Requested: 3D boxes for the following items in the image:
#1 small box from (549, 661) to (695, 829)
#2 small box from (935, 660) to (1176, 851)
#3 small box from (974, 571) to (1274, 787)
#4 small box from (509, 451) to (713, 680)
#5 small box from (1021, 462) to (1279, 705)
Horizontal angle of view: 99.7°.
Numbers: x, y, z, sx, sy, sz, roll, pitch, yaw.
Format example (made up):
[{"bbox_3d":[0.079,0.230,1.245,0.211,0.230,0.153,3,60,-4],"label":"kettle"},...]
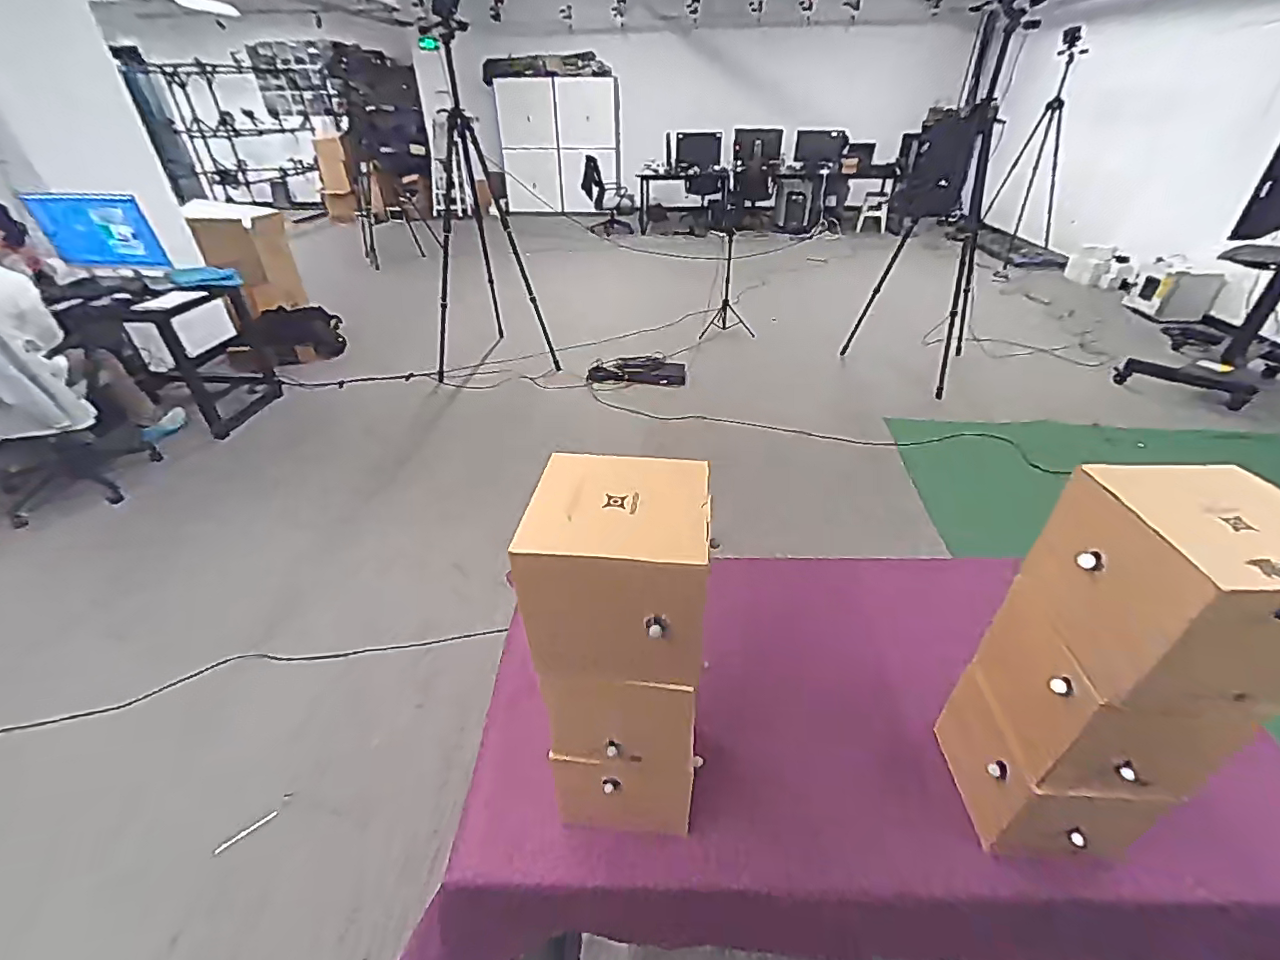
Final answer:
[{"bbox_3d":[-0.016,0.357,0.753,0.179,0.176,0.168,3,35,4],"label":"small box"},{"bbox_3d":[0.531,0.367,0.726,0.168,0.176,0.179,1,35,3],"label":"small box"},{"bbox_3d":[0.535,0.230,0.638,0.168,0.176,0.179,1,36,3],"label":"small box"},{"bbox_3d":[-0.017,0.087,0.567,0.179,0.176,0.168,3,35,6],"label":"small box"},{"bbox_3d":[0.532,0.098,0.540,0.168,0.176,0.179,-1,35,0],"label":"small box"}]
